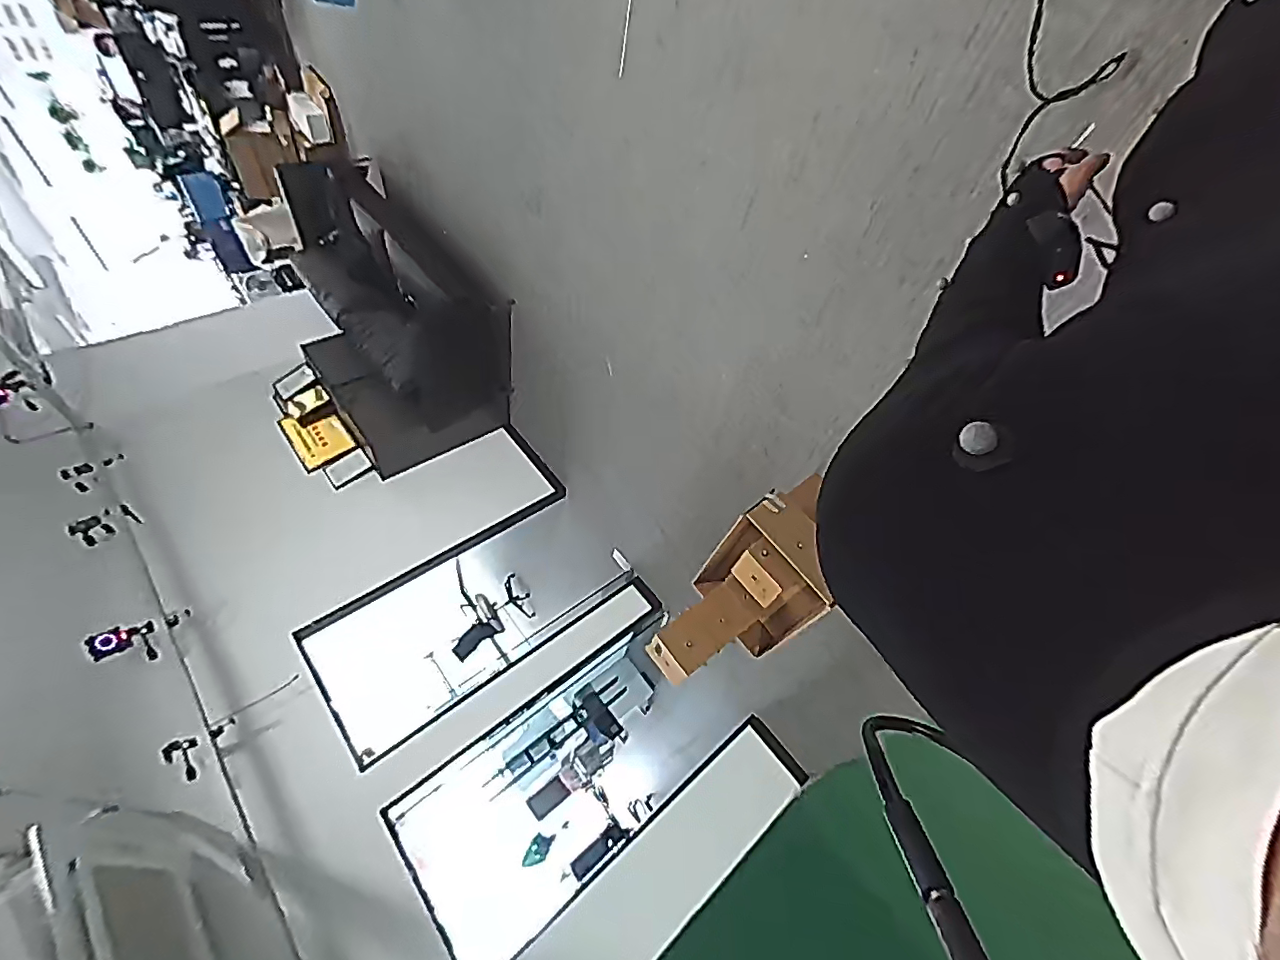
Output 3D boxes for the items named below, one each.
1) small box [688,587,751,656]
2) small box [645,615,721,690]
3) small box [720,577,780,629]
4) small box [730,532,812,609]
[{"bbox_3d":[0.274,0.528,1.982,0.179,0.176,0.168,48,147,17],"label":"small box"},{"bbox_3d":[0.150,0.599,1.899,0.179,0.176,0.168,48,148,17],"label":"small box"},{"bbox_3d":[0.398,0.455,2.061,0.179,0.176,0.168,50,148,17],"label":"small box"},{"bbox_3d":[0.446,0.300,1.840,0.179,0.176,0.168,48,149,20],"label":"small box"}]
